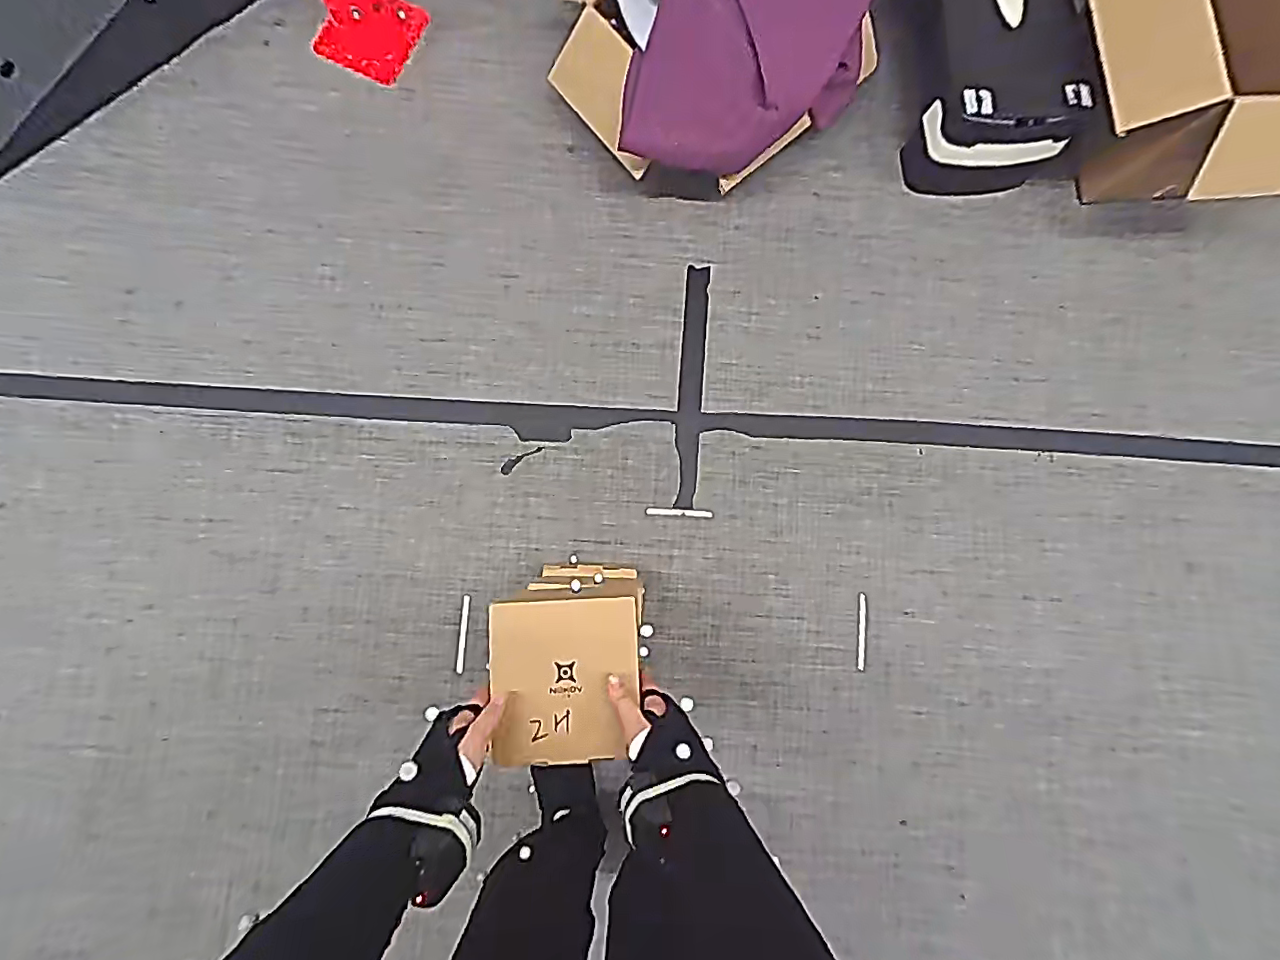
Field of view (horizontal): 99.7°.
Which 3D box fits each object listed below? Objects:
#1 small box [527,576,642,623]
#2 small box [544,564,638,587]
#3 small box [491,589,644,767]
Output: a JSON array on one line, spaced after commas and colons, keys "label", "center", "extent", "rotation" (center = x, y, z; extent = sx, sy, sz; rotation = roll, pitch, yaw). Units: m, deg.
[{"label": "small box", "center": [-0.082, 0.247, 0.835], "extent": [0.168, 0.176, 0.179], "rotation": [2, 84, 0]}, {"label": "small box", "center": [-0.090, 0.249, 1.000], "extent": [0.168, 0.176, 0.179], "rotation": [2, 85, 0]}, {"label": "small box", "center": [-0.081, 0.229, 0.669], "extent": [0.168, 0.176, 0.179], "rotation": [-3, 84, 0]}]
